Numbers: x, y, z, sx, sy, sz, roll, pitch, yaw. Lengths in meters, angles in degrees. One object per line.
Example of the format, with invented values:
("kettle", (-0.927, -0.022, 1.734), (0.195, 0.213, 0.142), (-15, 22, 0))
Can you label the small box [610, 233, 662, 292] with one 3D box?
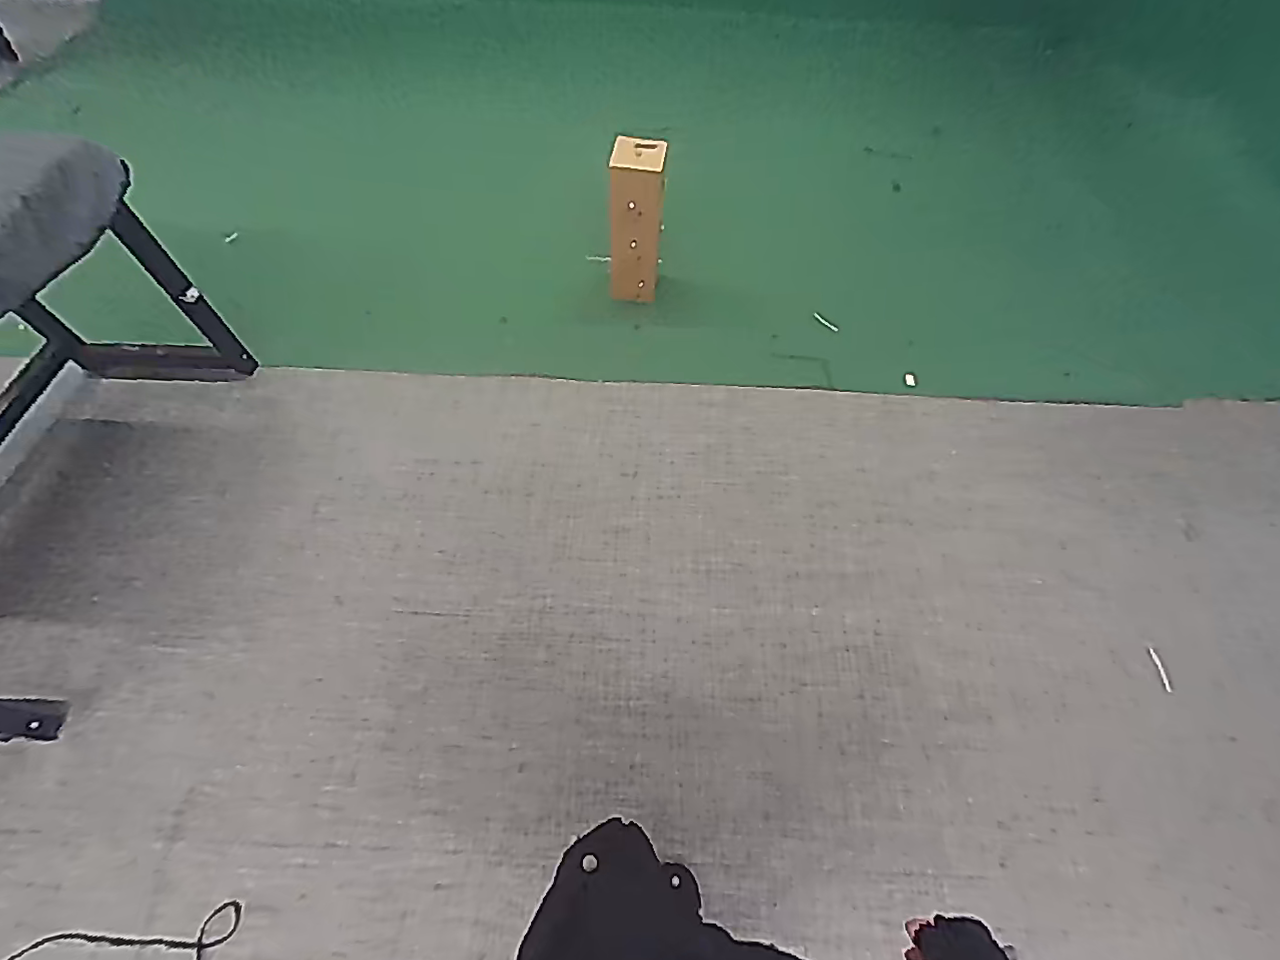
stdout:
("small box", (-0.014, -0.826, 2.010), (0.168, 0.176, 0.179), (9, 59, 1))

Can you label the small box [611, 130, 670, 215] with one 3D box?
("small box", (-0.002, -0.994, 1.750), (0.168, 0.176, 0.179), (8, 60, 3))

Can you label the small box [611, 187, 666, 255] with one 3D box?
("small box", (-0.006, -0.908, 1.891), (0.168, 0.176, 0.179), (8, 60, 2))
